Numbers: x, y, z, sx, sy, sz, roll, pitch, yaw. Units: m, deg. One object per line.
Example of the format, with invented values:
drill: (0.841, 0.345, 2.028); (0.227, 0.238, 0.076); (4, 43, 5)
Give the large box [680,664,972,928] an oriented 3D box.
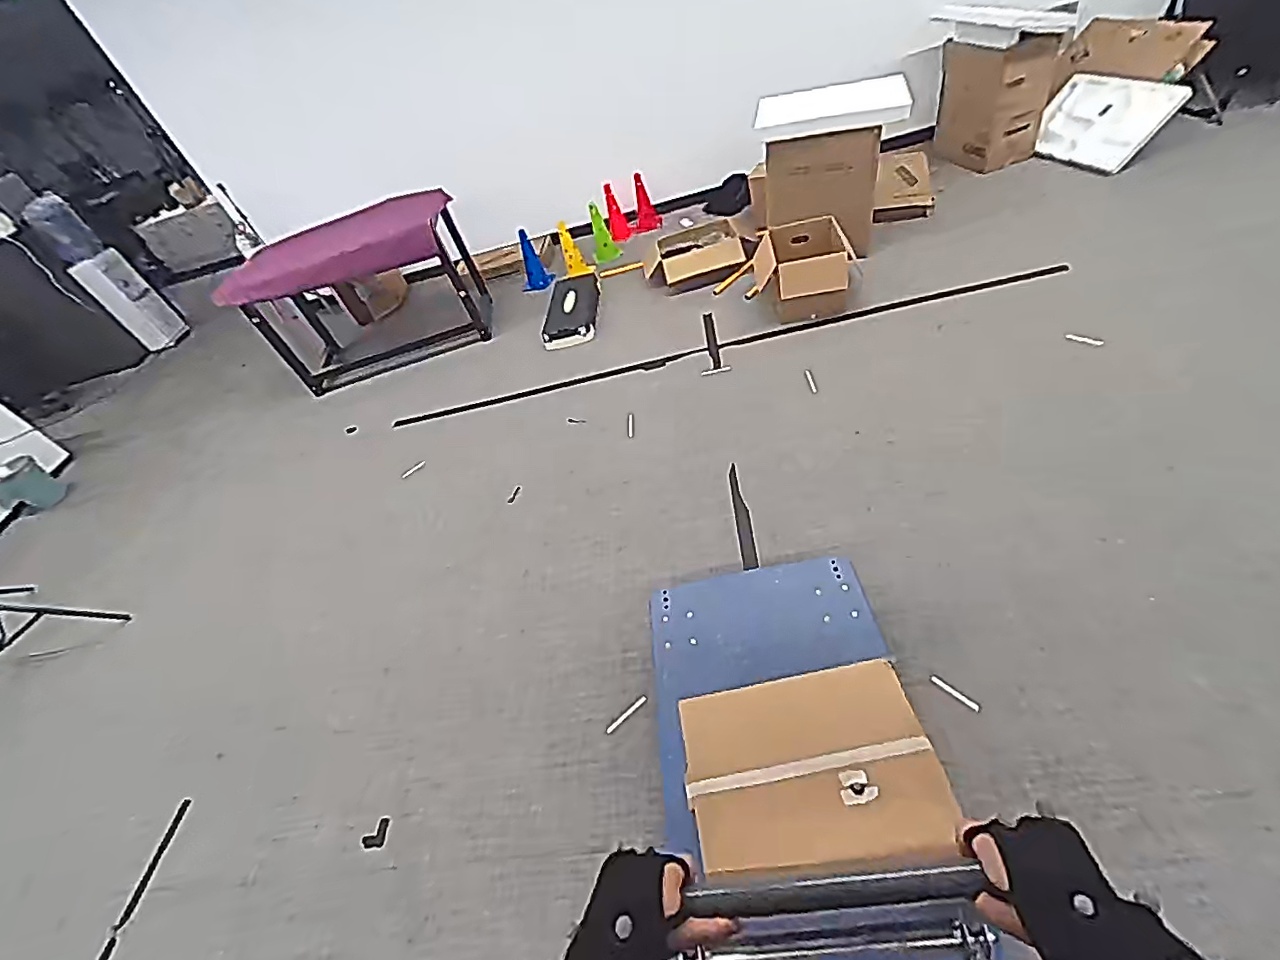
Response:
large box: (0.317, 0.599, 1.019); (0.408, 0.320, 0.320); (-14, 44, 5)
